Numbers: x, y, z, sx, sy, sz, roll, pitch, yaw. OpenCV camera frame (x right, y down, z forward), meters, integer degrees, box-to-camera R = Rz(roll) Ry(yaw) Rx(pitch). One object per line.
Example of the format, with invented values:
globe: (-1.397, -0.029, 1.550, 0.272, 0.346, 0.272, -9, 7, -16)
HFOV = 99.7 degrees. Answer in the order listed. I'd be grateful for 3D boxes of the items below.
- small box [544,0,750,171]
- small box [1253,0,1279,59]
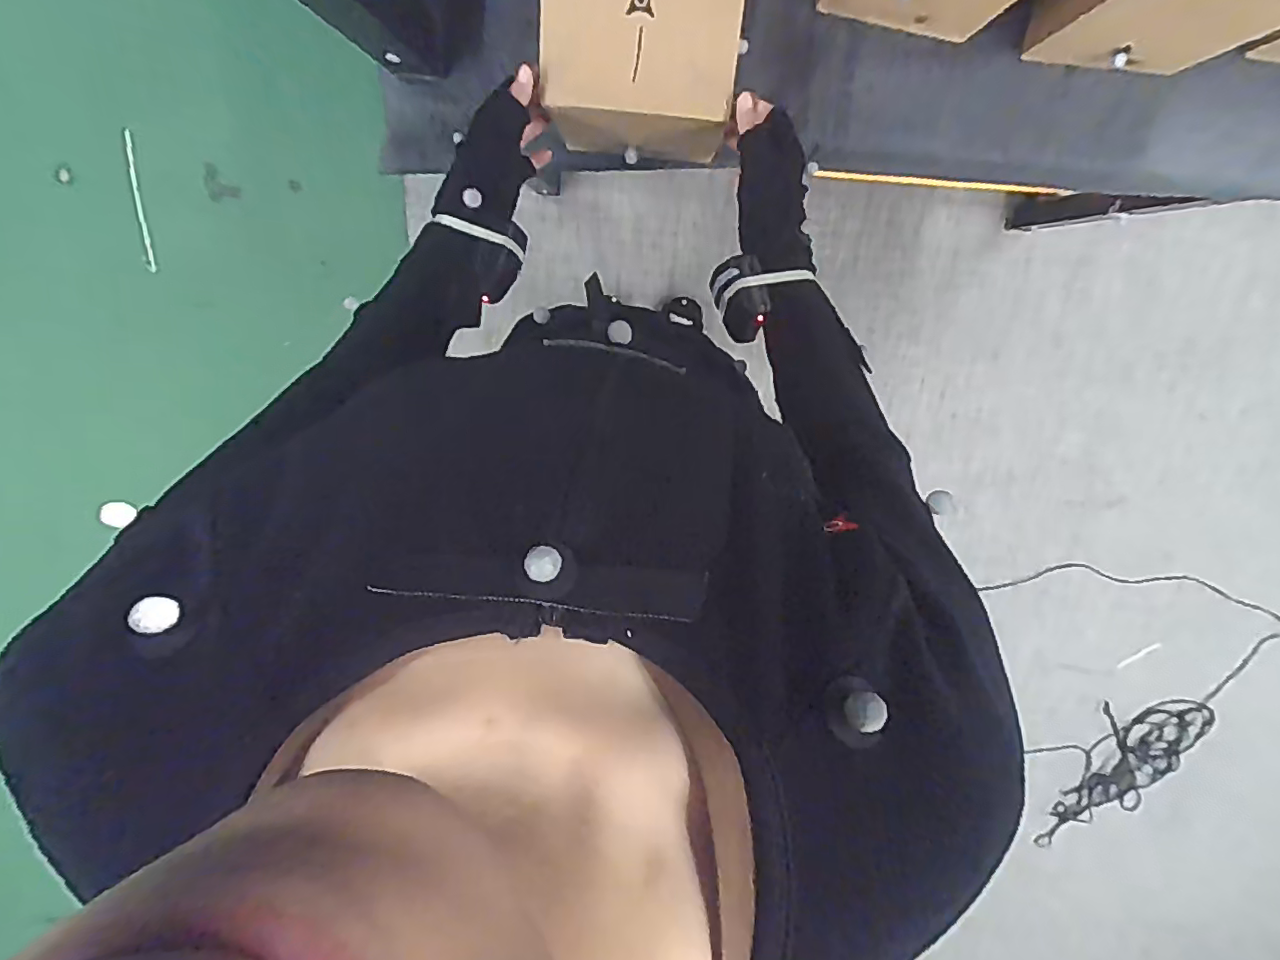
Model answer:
small box: (0.008, -0.416, 0.512, 0.168, 0.176, 0.179, 6, 110, -1)
small box: (0.718, -0.484, 0.467, 0.168, 0.176, 0.179, 7, 109, -1)
